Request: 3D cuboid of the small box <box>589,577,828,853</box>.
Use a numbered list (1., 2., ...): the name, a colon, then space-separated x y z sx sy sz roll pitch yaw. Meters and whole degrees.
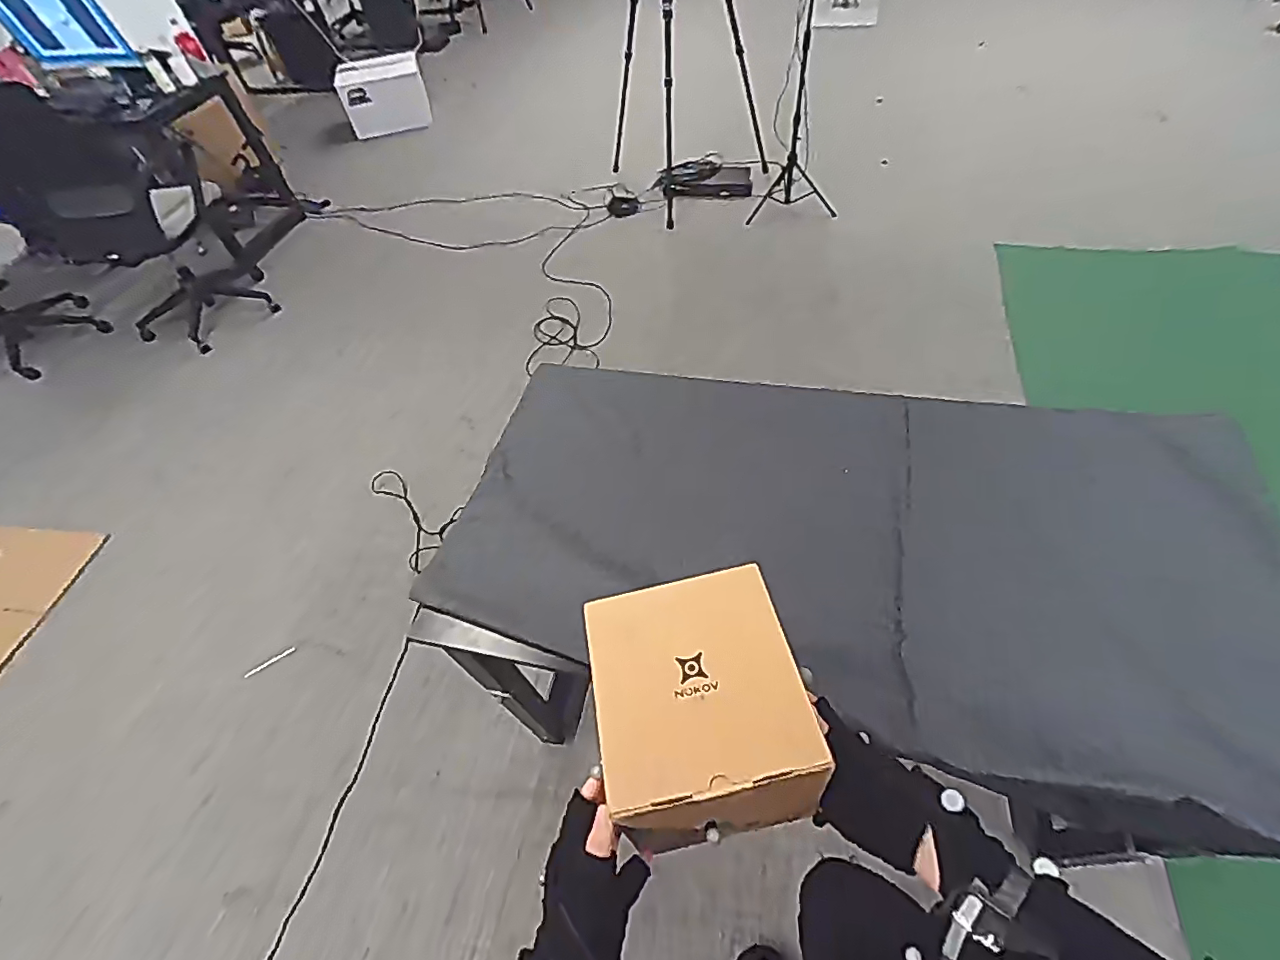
1. small box: 0.055 0.222 0.509 0.168 0.176 0.179 -13 49 -1
